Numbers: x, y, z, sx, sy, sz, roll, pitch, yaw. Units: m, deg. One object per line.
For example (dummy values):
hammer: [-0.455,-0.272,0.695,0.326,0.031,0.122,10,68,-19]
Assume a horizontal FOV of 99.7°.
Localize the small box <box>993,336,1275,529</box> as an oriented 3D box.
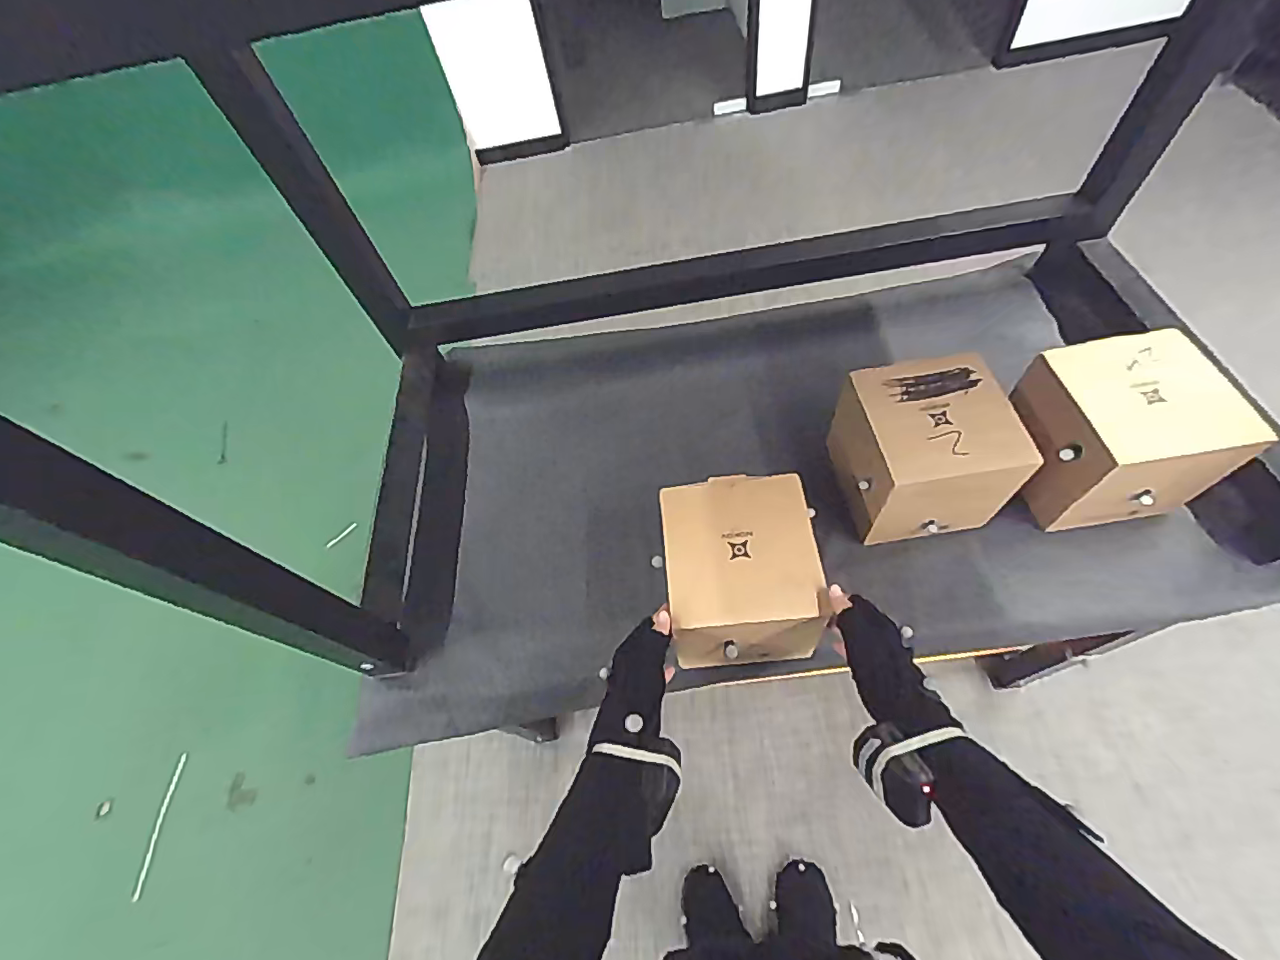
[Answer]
small box: [0.599,-0.050,0.690,0.168,0.176,0.179,-9,57,3]
